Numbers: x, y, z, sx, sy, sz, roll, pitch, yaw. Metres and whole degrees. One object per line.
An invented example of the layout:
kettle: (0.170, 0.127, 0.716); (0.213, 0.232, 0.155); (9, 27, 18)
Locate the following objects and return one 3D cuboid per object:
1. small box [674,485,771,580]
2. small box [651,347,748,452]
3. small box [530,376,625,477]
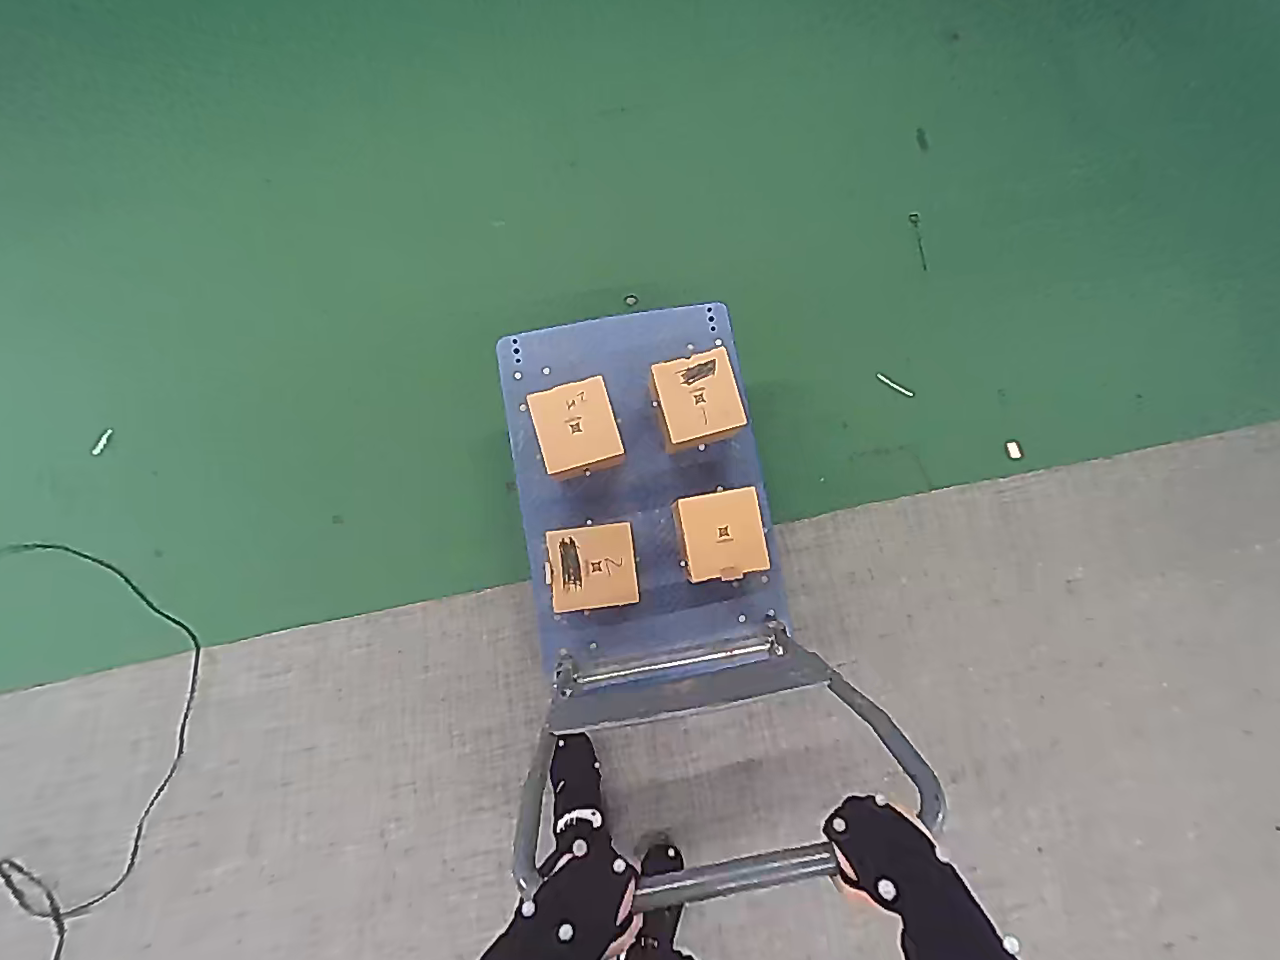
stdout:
small box: (0.173, 0.116, 1.191); (0.168, 0.176, 0.179); (-10, 86, -2)
small box: (0.126, -0.173, 1.214); (0.168, 0.176, 0.179); (-15, 87, -2)
small box: (-0.133, -0.110, 1.200); (0.168, 0.176, 0.179); (-16, 86, -4)
